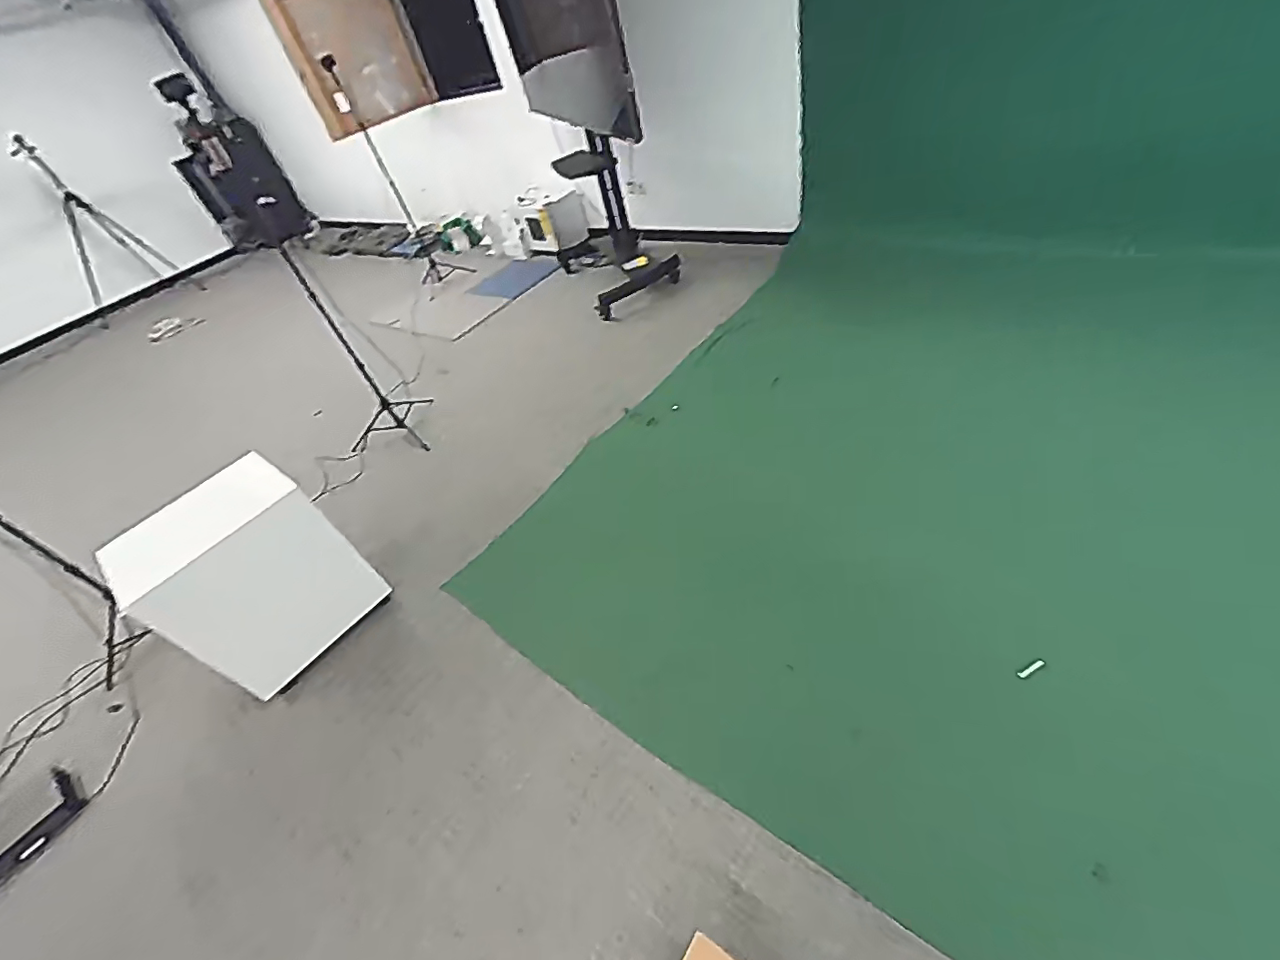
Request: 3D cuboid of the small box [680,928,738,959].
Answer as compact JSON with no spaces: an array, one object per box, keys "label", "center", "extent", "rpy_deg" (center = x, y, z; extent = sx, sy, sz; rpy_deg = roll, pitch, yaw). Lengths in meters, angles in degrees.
[{"label":"small box","center":[0.150,0.995,1.012],"extent":[0.179,0.176,0.168],"rpy_deg":[18,53,33]}]
